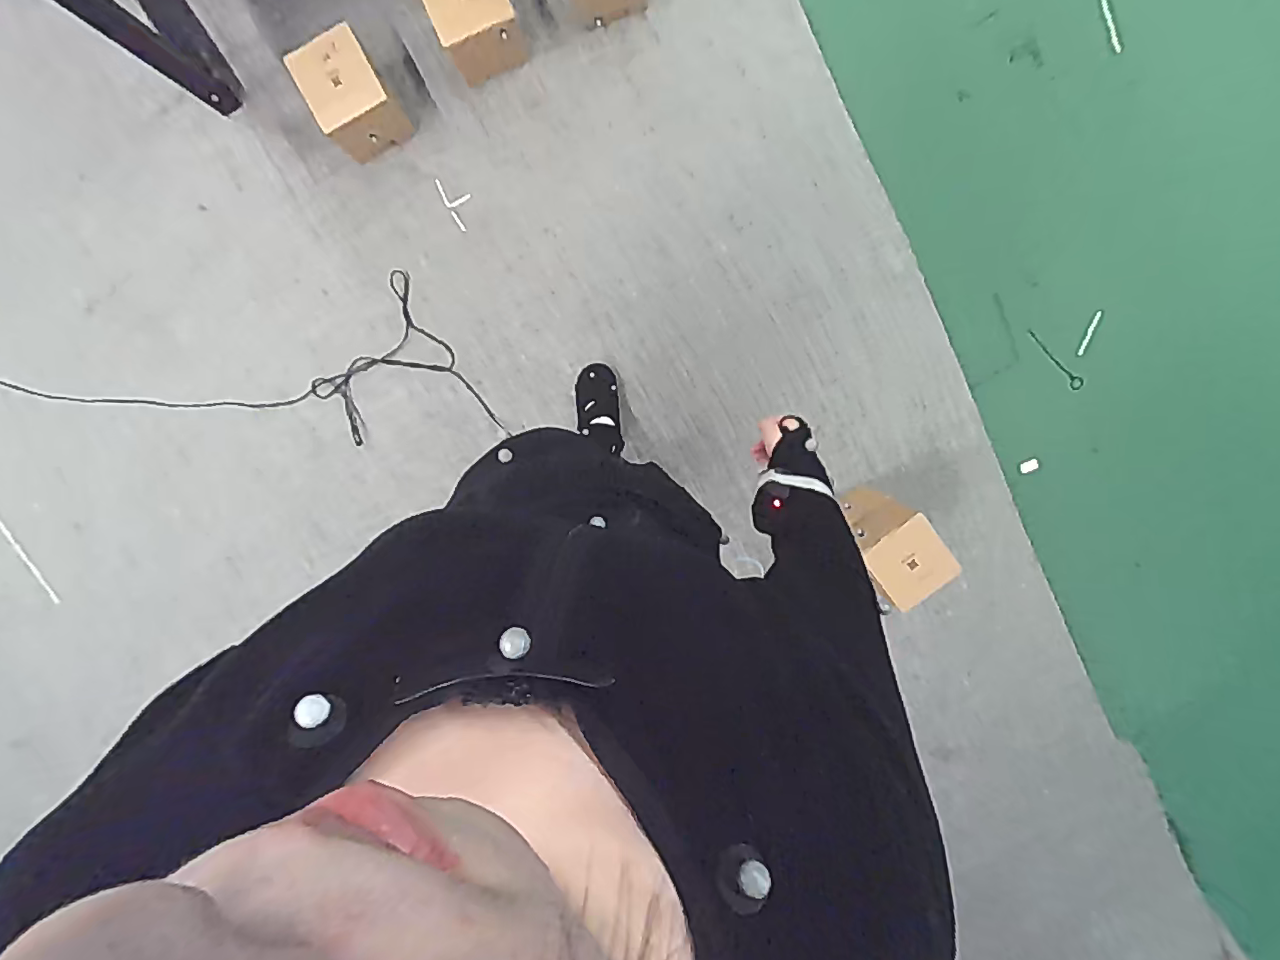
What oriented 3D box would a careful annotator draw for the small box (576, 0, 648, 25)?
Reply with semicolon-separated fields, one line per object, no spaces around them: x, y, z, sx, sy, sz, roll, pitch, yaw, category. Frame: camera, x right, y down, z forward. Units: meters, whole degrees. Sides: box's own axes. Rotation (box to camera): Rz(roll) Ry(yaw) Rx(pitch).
-0.080;-1.188;1.226;0.168;0.176;0.179;-19;98;2;small box

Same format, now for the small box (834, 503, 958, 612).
0.591;0.170;1.272;0.168;0.176;0.179;-37;98;6;small box
